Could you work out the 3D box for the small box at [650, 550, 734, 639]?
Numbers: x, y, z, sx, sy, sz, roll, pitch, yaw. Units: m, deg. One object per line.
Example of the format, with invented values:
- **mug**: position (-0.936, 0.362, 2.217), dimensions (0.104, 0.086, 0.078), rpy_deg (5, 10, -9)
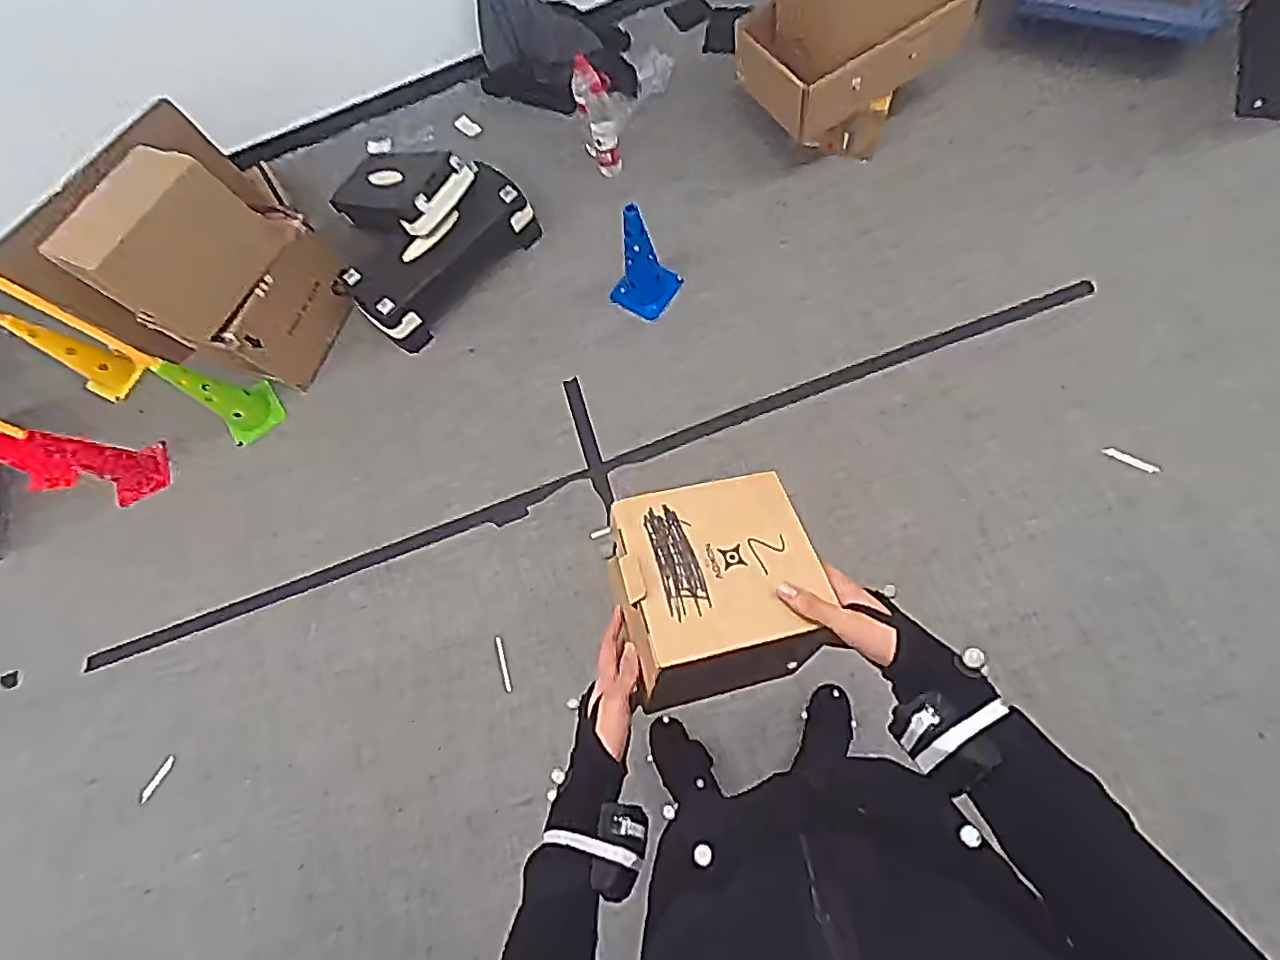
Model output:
- **small box**: position (0.142, 0.308, 1.433), dimensions (0.168, 0.176, 0.179), rpy_deg (-24, 70, 1)
